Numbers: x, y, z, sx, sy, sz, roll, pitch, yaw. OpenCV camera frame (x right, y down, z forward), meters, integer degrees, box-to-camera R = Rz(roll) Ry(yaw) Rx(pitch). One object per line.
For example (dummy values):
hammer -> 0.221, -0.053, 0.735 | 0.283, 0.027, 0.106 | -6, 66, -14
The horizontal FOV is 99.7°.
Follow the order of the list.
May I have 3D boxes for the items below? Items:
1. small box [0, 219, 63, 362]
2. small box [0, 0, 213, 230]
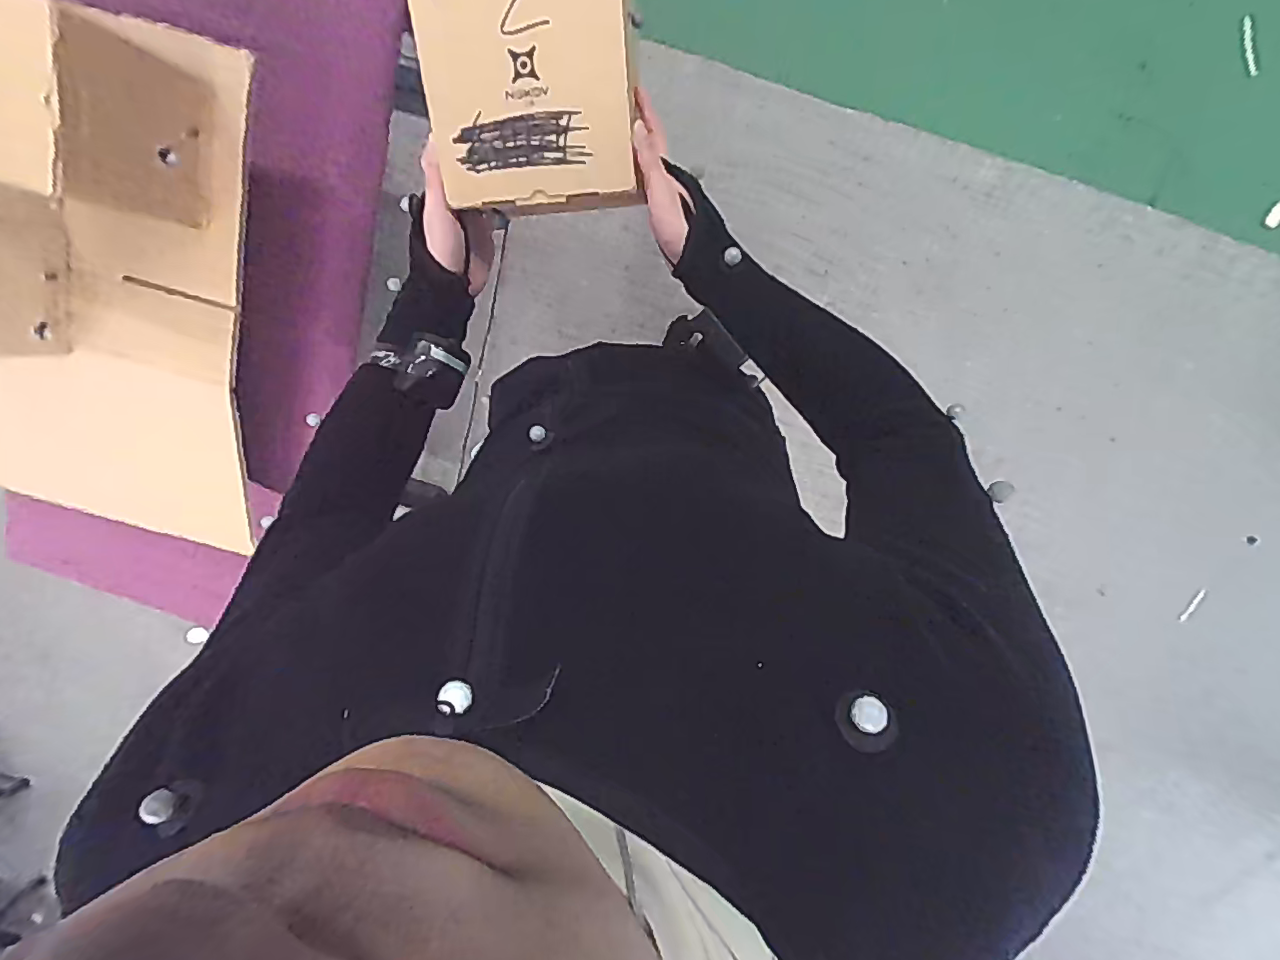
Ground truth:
small box -> -0.841, -0.238, 0.633 | 0.179, 0.176, 0.168 | 16, 105, 2
small box -> -0.610, -0.383, 0.575 | 0.179, 0.176, 0.168 | 16, 106, 1
